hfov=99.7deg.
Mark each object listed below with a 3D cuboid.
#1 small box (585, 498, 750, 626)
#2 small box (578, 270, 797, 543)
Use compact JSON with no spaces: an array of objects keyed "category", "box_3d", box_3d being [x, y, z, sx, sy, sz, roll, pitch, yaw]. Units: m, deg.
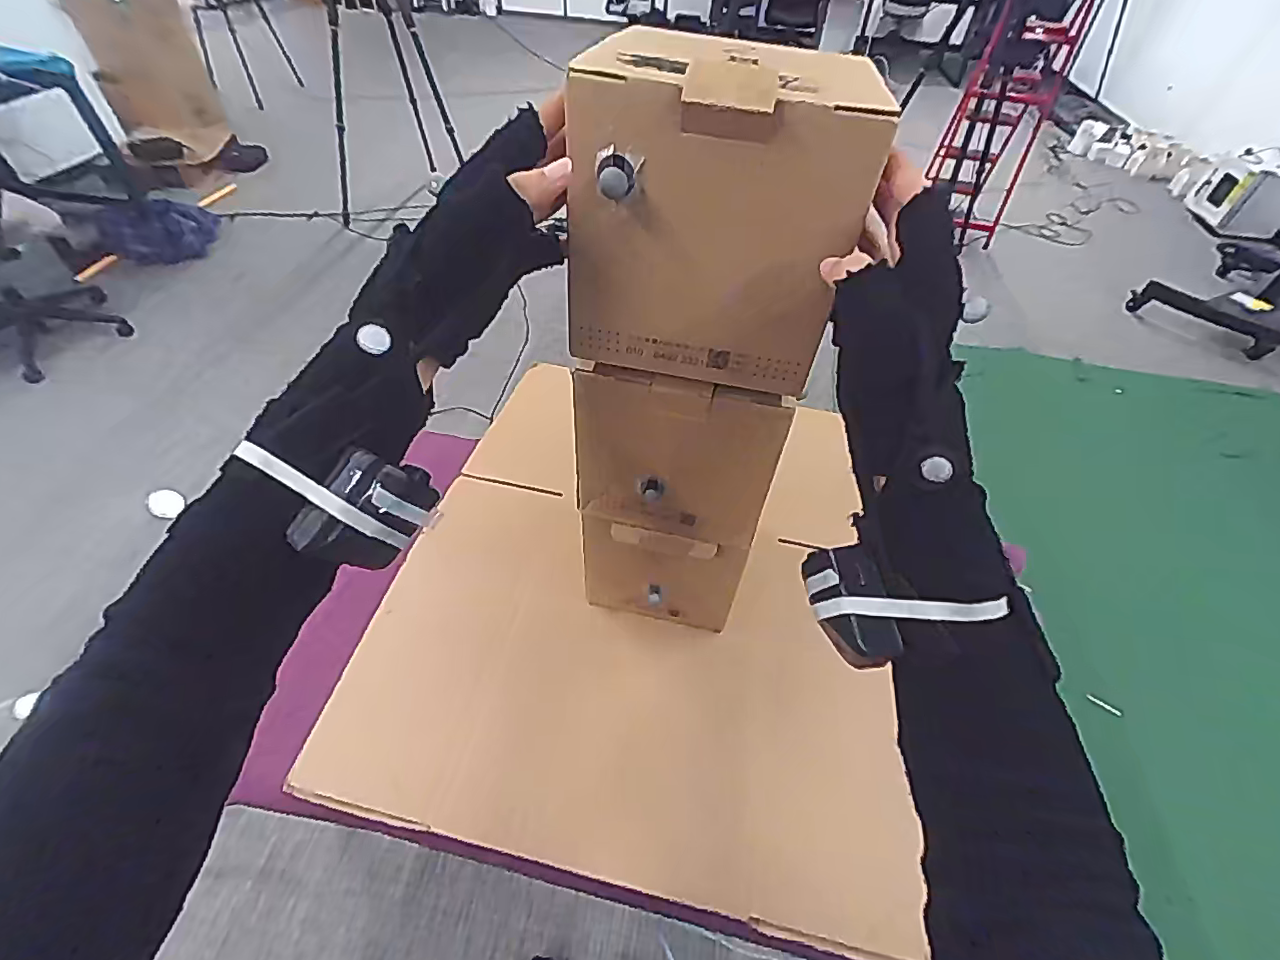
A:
[{"category":"small box","box_3d":[0.037,0.041,0.632,0.168,0.176,0.179,11,48,7]},{"category":"small box","box_3d":[0.044,-0.070,0.513,0.168,0.176,0.179,11,48,7]}]
